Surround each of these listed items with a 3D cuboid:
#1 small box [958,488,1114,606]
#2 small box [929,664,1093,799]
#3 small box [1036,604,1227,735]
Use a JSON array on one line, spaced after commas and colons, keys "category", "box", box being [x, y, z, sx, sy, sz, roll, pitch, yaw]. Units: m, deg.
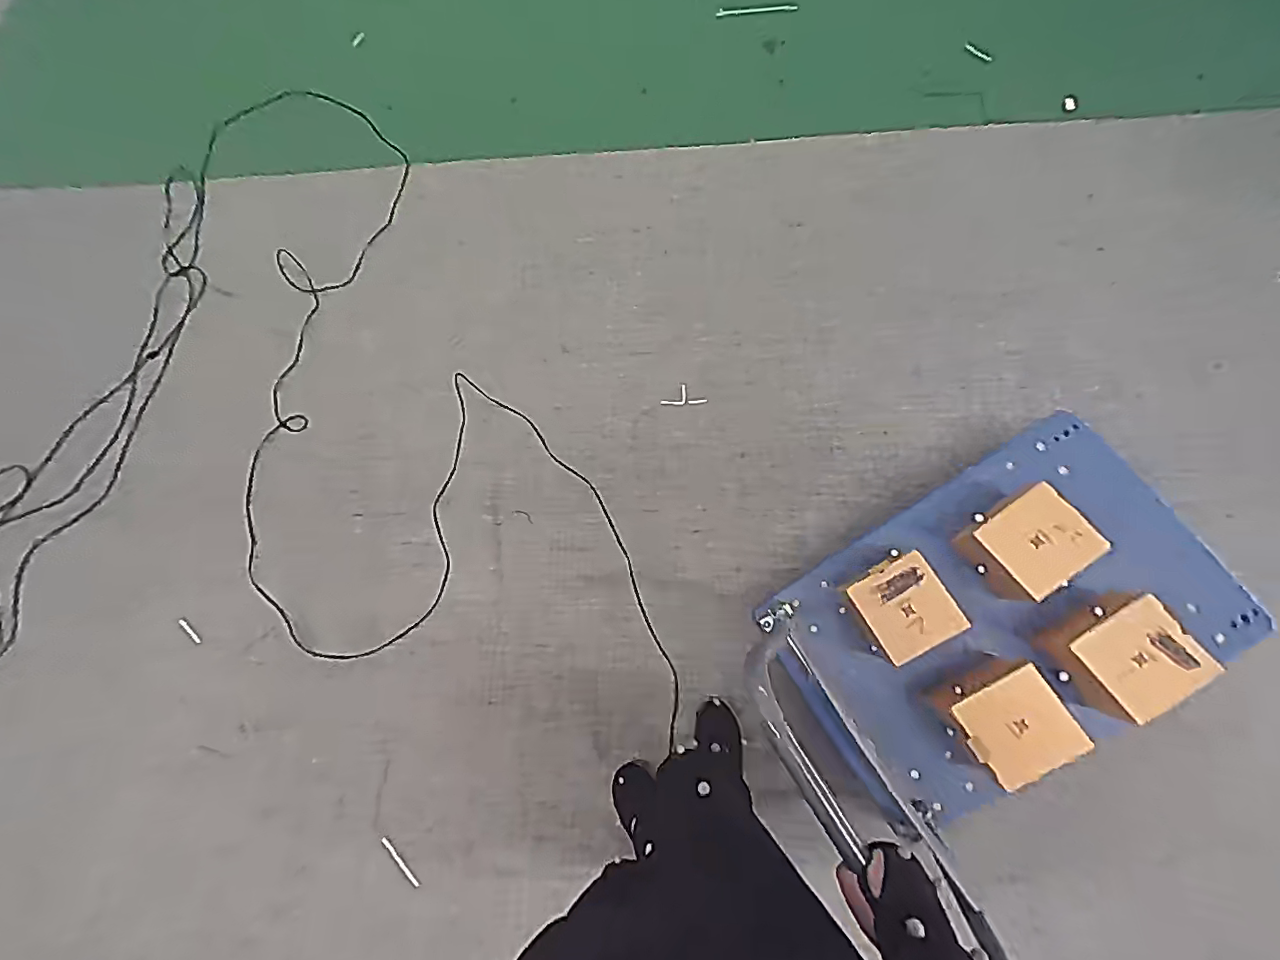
[{"category": "small box", "box": [0.792, 0.143, 1.112, 0.179, 0.176, 0.168, -36, 73, 3]}, {"category": "small box", "box": [0.708, 0.479, 1.059, 0.179, 0.176, 0.168, -31, 73, 6]}, {"category": "small box", "box": [0.920, 0.351, 1.036, 0.179, 0.176, 0.168, -35, 72, 5]}]
